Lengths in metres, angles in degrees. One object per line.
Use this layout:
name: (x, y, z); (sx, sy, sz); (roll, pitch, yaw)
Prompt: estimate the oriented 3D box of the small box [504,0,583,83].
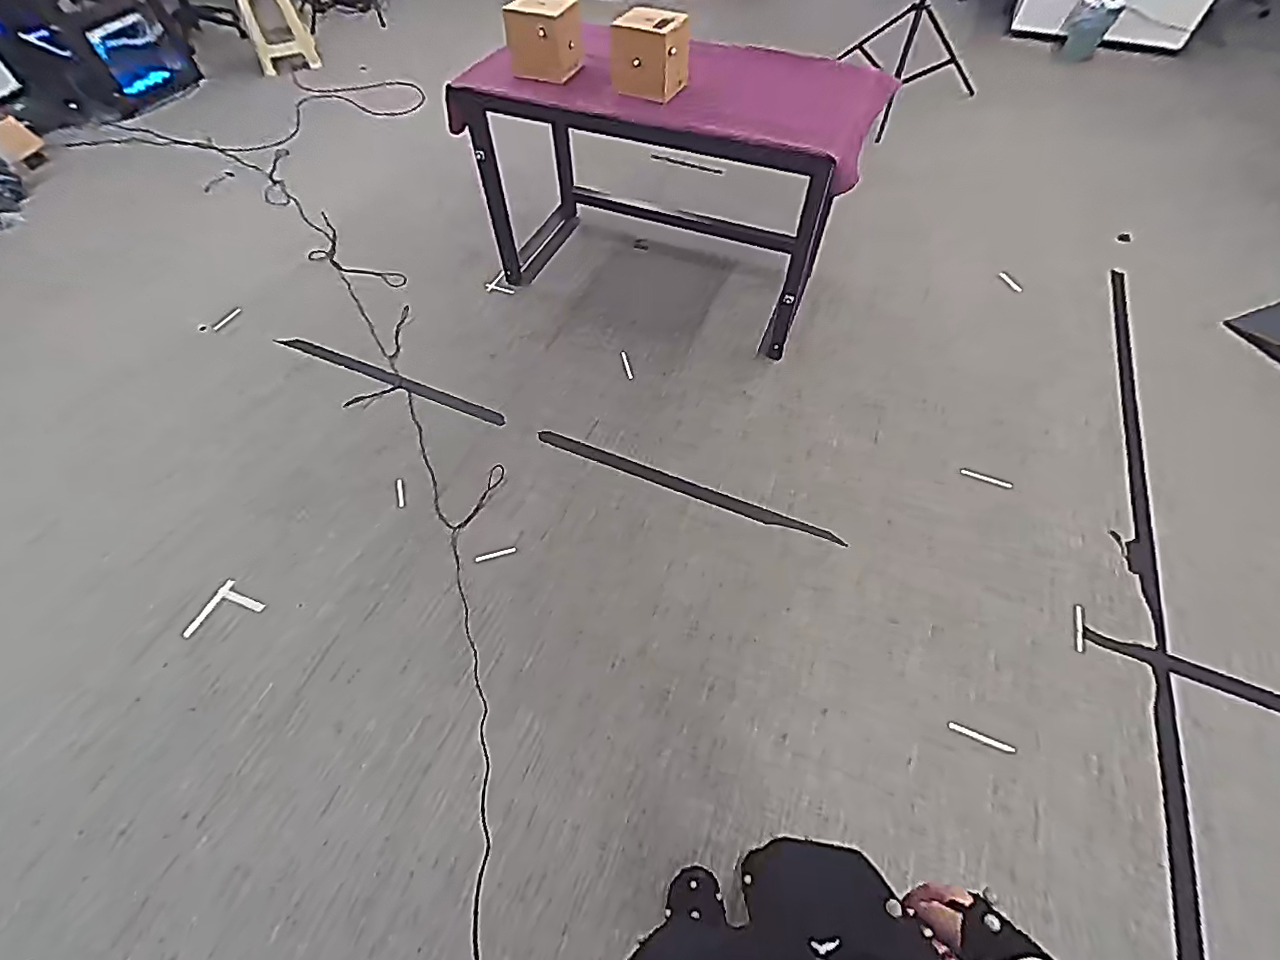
small box: (-0.285, -1.342, 1.647); (0.179, 0.176, 0.168); (17, 57, 12)
